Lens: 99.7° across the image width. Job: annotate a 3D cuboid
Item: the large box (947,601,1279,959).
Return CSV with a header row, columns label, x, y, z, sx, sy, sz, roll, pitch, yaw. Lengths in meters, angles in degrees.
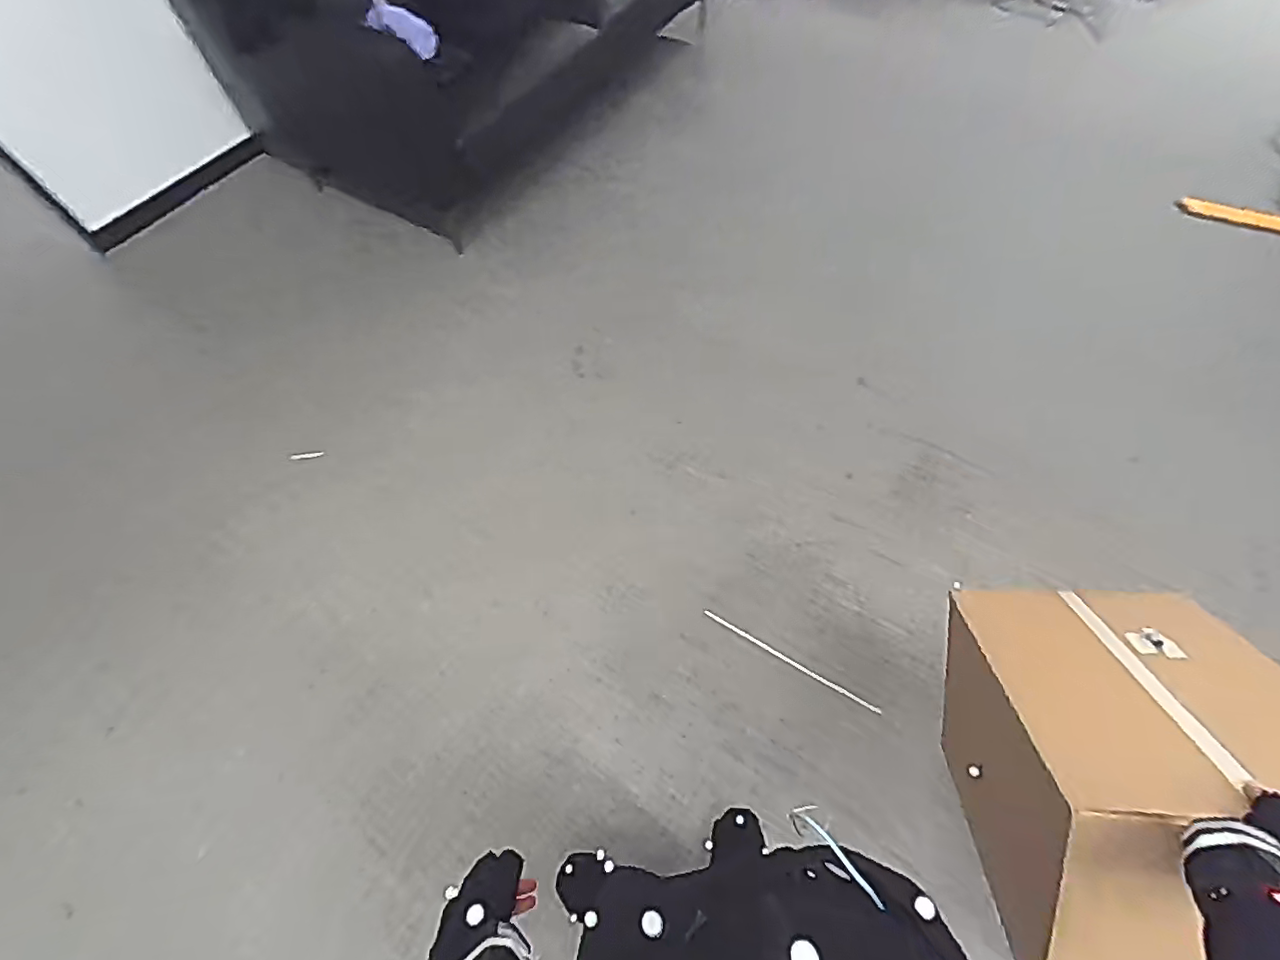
label,x,y,z,sx,sy,sz,roll,pitch,yaw
large box,0.625,0.397,0.696,0.320,0.320,0.408,-1,18,15
